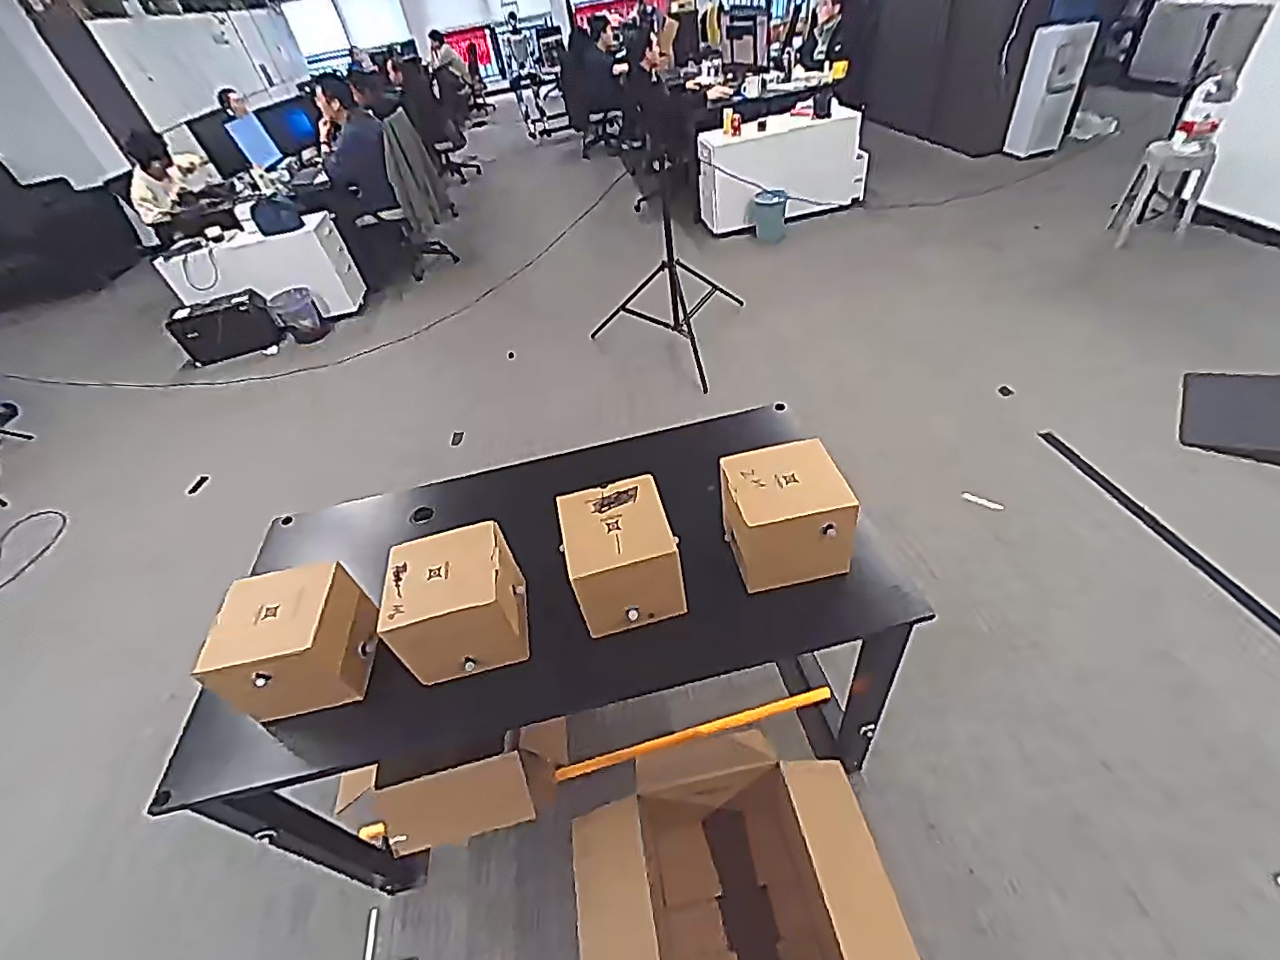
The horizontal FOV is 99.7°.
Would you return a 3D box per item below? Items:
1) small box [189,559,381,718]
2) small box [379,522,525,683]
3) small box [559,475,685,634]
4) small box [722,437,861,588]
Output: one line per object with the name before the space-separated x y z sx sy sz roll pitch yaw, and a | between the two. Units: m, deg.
small box | -0.546 0.257 0.864 0.179 0.176 0.168 -12 44 -3
small box | -0.289 0.199 0.873 0.179 0.176 0.168 -14 43 -4
small box | -0.029 0.124 0.896 0.168 0.176 0.179 -15 43 -3
small box | 0.242 0.057 0.907 0.179 0.176 0.168 -12 42 0
